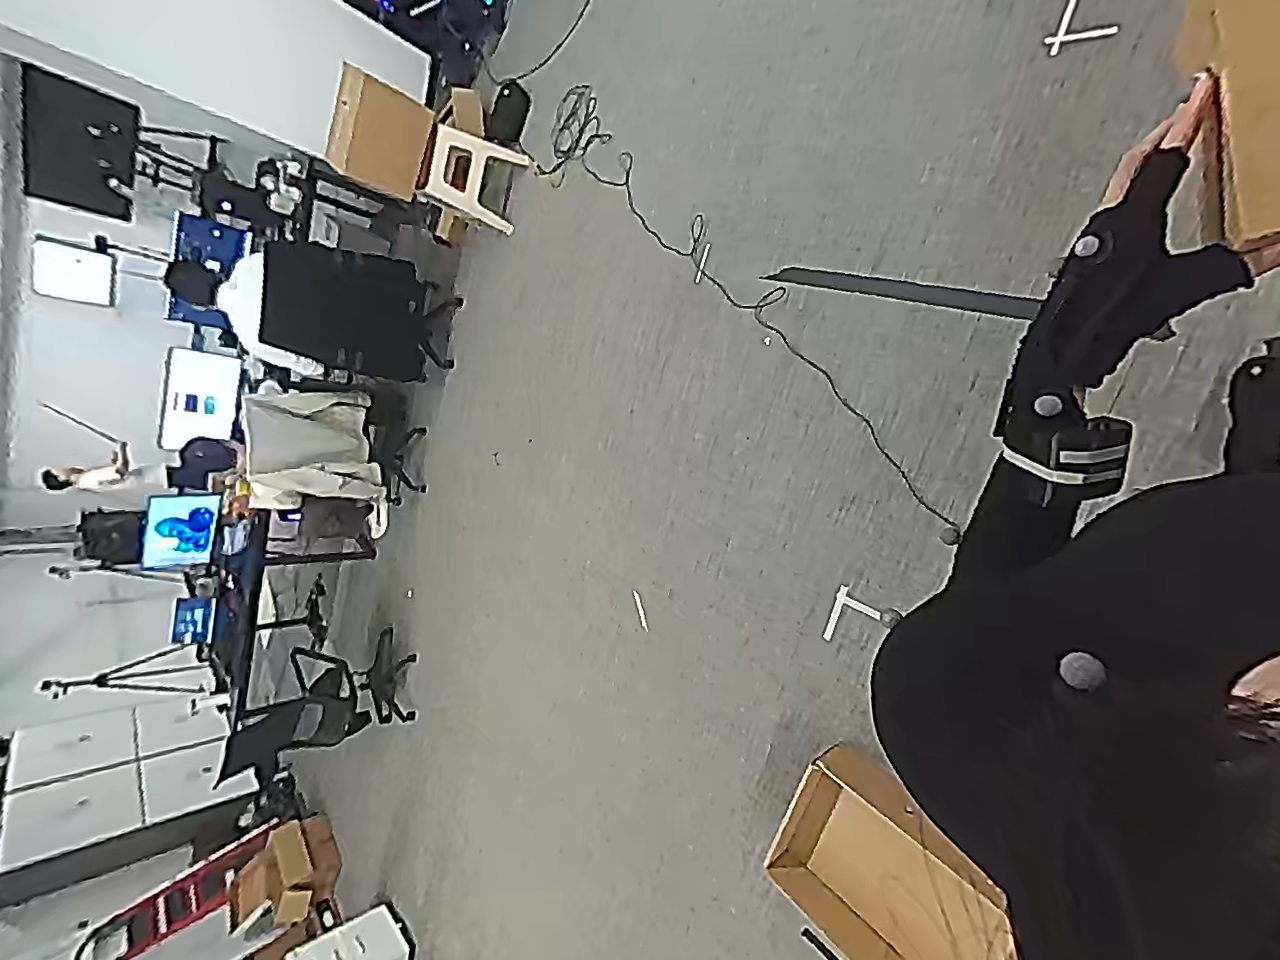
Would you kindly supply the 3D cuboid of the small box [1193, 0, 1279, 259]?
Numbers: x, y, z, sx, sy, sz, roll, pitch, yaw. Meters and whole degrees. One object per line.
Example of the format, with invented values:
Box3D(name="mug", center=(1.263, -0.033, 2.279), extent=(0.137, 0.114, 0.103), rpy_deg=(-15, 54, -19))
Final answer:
Box3D(name="small box", center=(0.415, -0.238, 0.277), extent=(0.168, 0.176, 0.179), rpy_deg=(-8, 93, 43))
